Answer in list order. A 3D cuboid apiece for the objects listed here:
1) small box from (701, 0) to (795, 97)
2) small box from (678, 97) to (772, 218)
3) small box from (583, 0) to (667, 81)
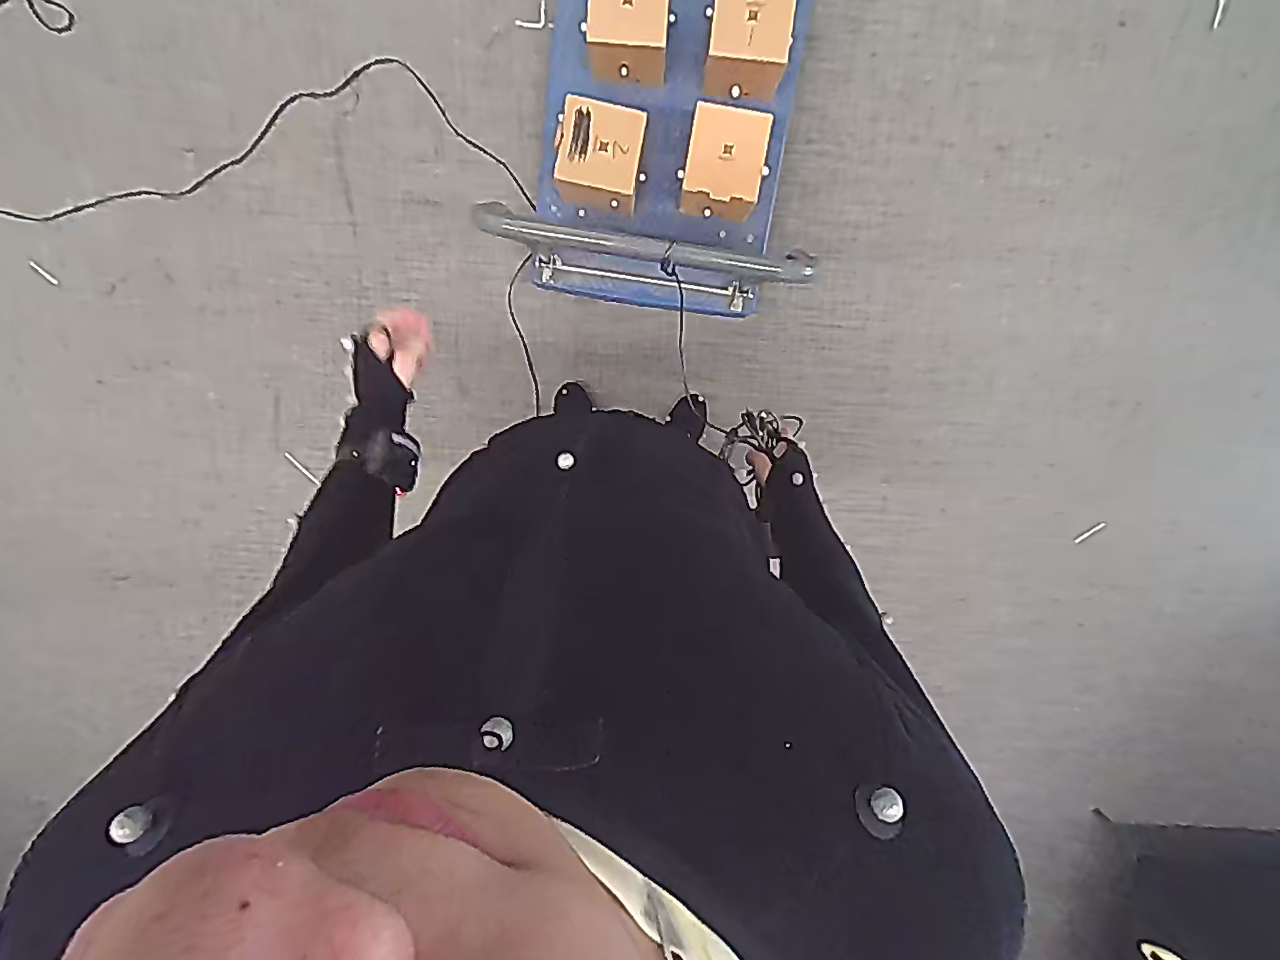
[{"bbox_3d":[0.228,-0.971,1.166,0.168,0.176,0.179,6,103,0],"label":"small box"},{"bbox_3d":[0.183,-0.719,1.223,0.168,0.176,0.179,9,103,-2],"label":"small box"},{"bbox_3d":[-0.028,-0.998,1.162,0.168,0.176,0.179,4,102,-1],"label":"small box"}]
